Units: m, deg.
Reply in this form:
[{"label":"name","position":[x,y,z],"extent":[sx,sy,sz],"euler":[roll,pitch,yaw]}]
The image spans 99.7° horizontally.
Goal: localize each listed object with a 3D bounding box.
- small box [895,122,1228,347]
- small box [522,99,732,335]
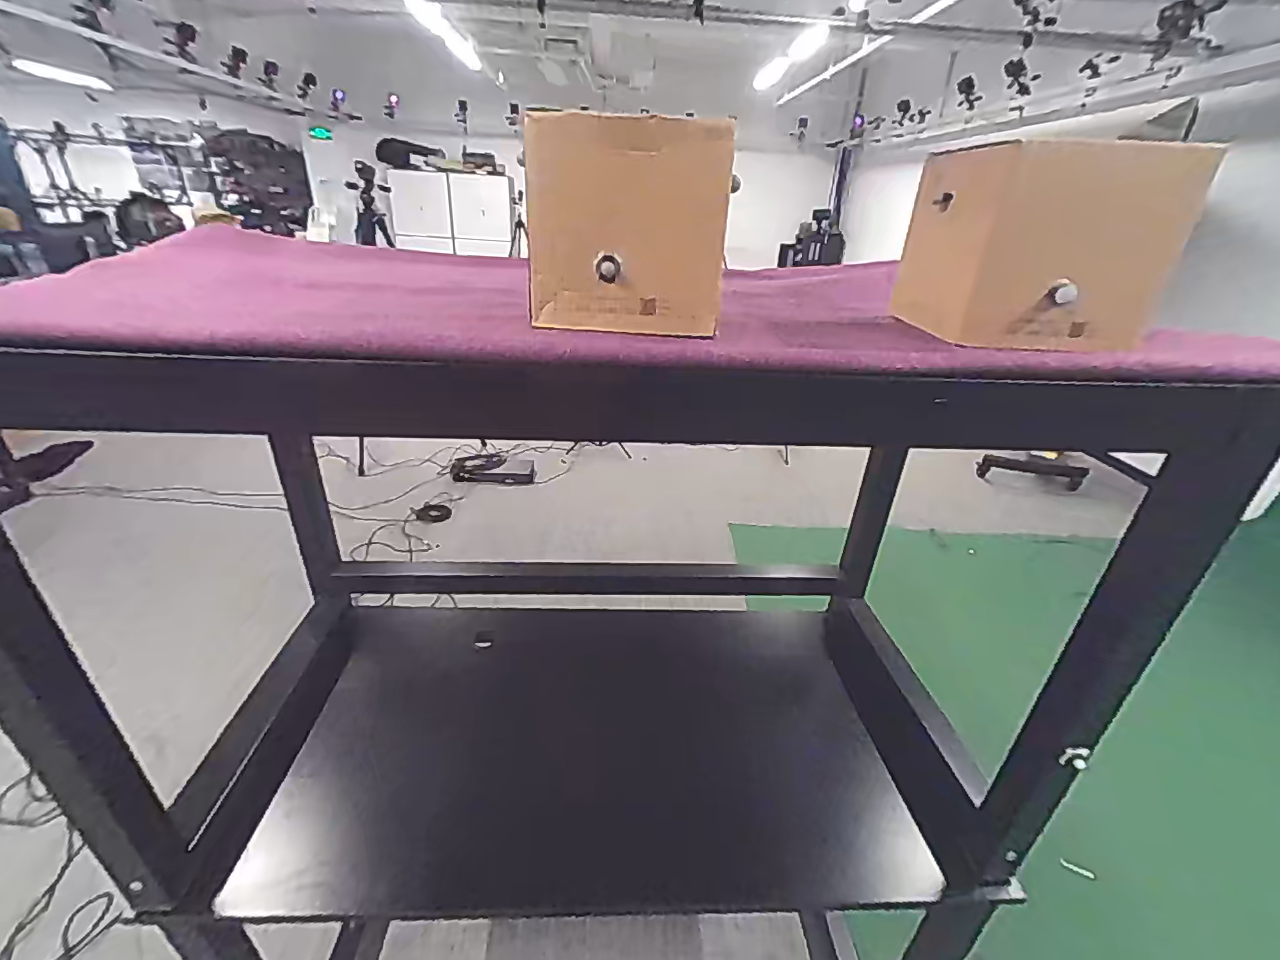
[{"label":"small box","position":[0.375,-0.237,0.529],"extent":[0.168,0.176,0.179],"euler":[2,28,2]},{"label":"small box","position":[-0.011,-0.244,0.519],"extent":[0.168,0.176,0.179],"euler":[3,26,1]}]
